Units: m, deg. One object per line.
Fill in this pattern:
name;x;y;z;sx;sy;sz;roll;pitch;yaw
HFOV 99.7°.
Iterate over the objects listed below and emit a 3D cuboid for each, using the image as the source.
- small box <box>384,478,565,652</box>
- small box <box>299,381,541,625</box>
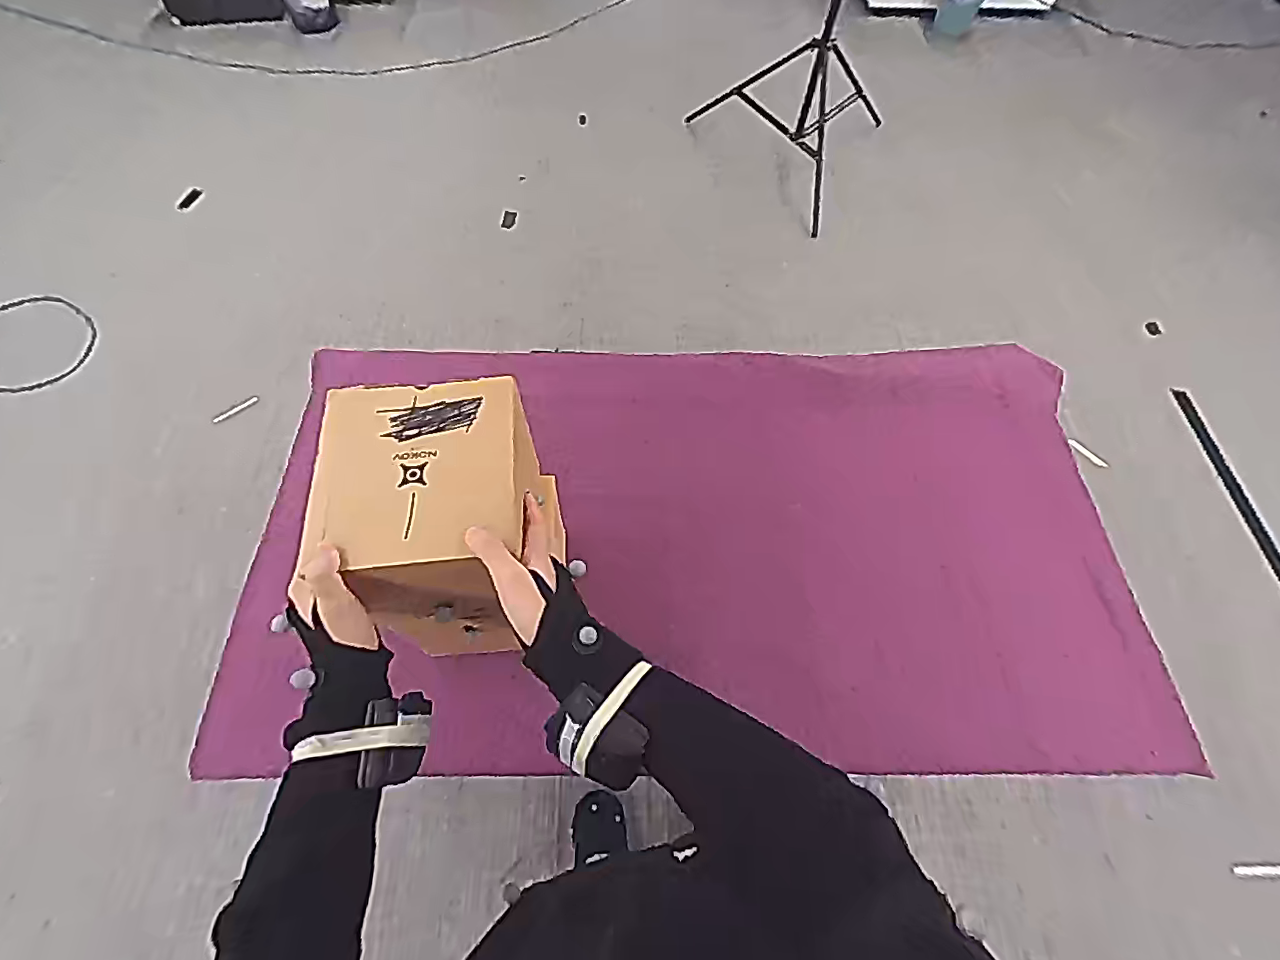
small box;-0.185;0.110;0.667;0.179;0.176;0.168;-3;62;-3
small box;-0.190;0.028;0.524;0.168;0.176;0.179;-6;63;-4
